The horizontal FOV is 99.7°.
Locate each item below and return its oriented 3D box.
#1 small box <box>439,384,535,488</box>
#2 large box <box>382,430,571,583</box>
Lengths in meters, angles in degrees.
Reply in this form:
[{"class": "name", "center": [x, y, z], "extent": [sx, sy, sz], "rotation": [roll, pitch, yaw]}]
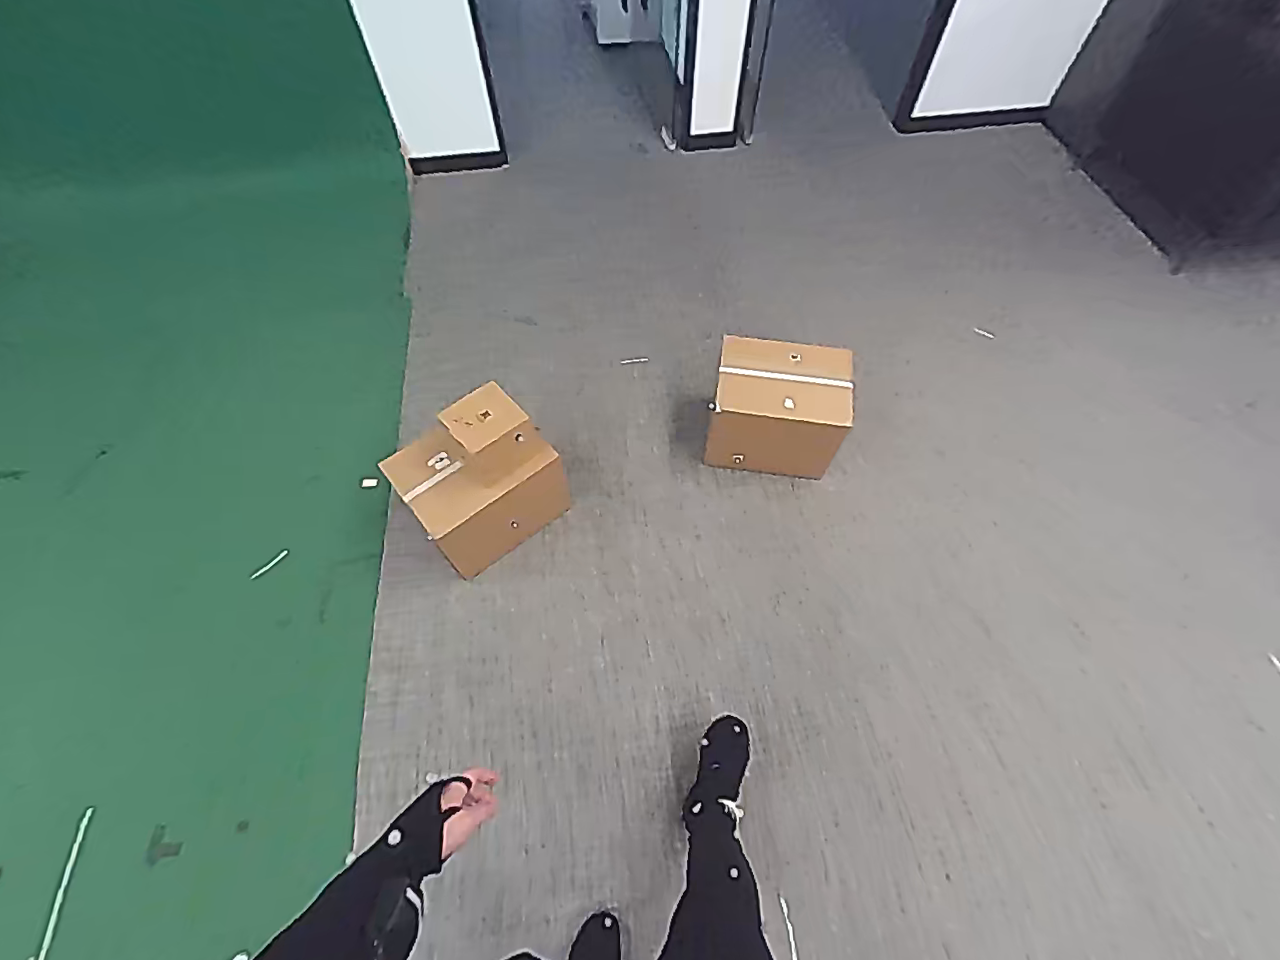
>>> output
[{"class": "small box", "center": [-0.395, -0.114, 1.432], "extent": [0.179, 0.176, 0.168], "rotation": [-37, 66, -20]}, {"class": "large box", "center": [-0.470, 0.033, 1.632], "extent": [0.408, 0.320, 0.320], "rotation": [-37, 65, -19]}]
